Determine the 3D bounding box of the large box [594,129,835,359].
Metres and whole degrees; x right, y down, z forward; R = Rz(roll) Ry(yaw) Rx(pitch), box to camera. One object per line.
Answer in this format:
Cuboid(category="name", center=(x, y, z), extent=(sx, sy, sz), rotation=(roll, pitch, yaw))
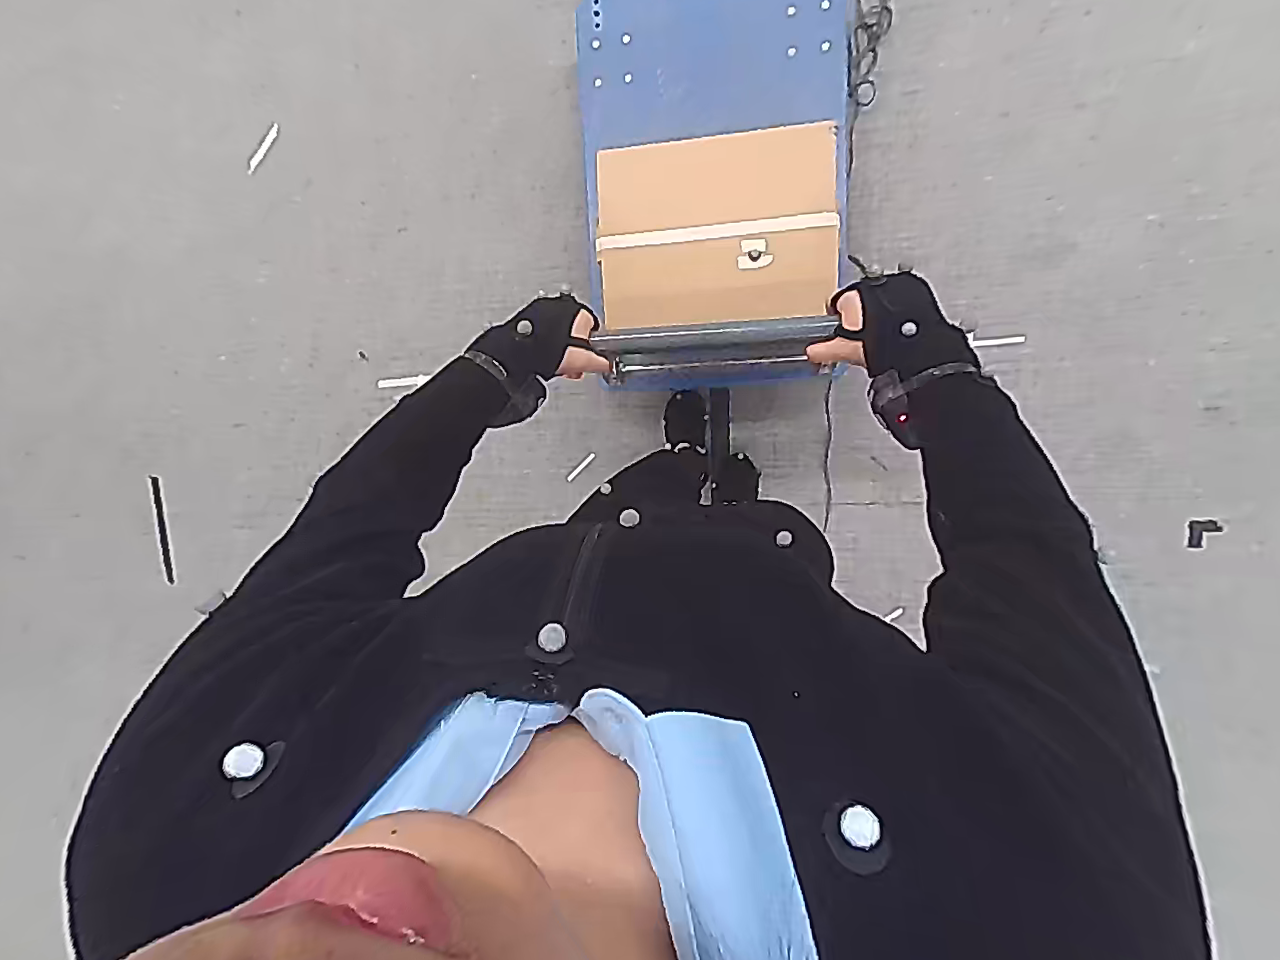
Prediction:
Cuboid(category="large box", center=(0.145, -0.428, 1.072), extent=(0.408, 0.320, 0.320), rotation=(-2, 97, 9))
